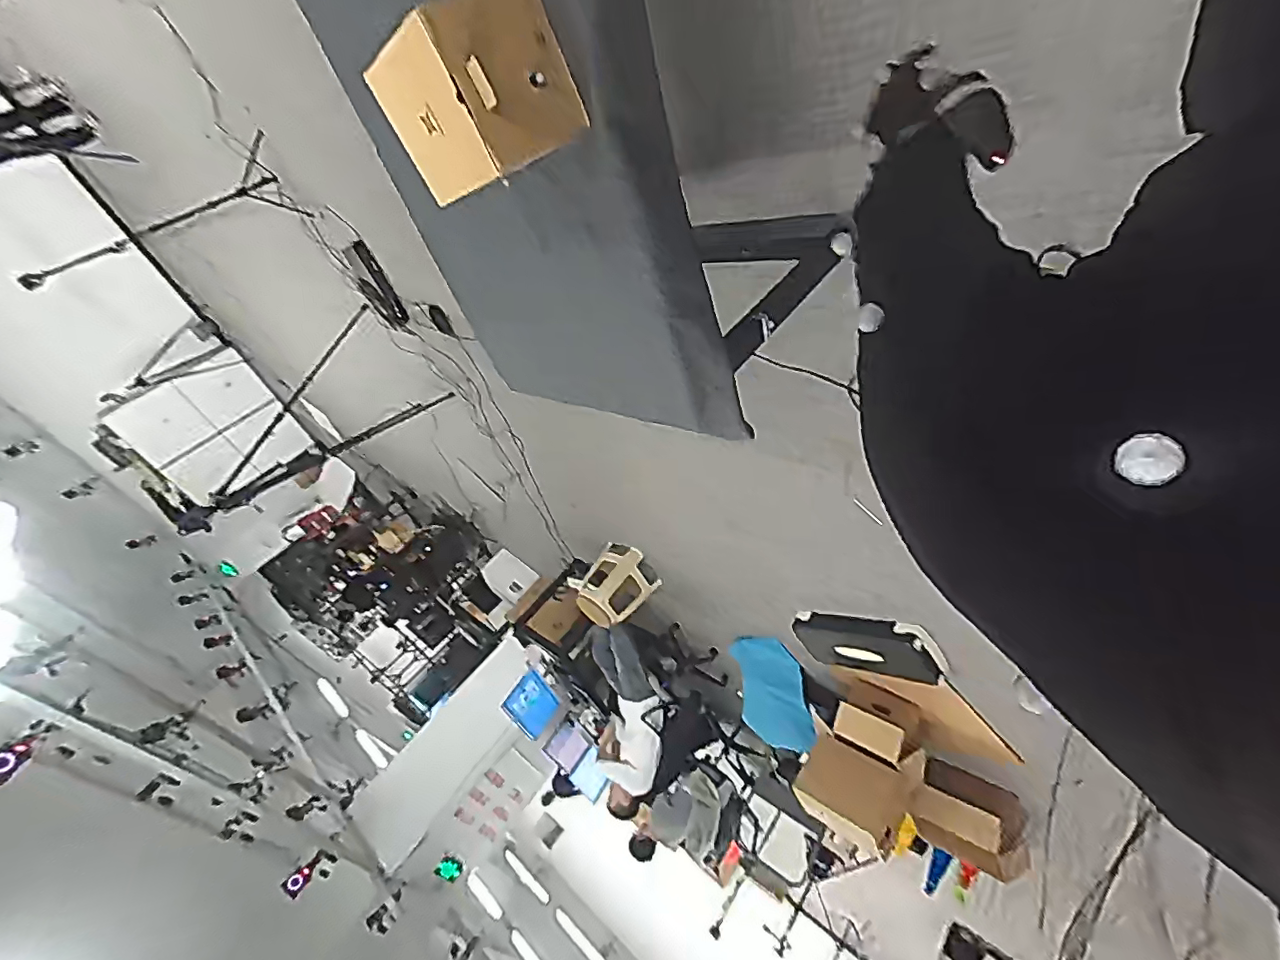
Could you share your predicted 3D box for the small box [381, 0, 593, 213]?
[{"bbox_3d":[-0.195,-0.482,0.710,0.179,0.176,0.168,10,138,47],"label":"small box"}]
